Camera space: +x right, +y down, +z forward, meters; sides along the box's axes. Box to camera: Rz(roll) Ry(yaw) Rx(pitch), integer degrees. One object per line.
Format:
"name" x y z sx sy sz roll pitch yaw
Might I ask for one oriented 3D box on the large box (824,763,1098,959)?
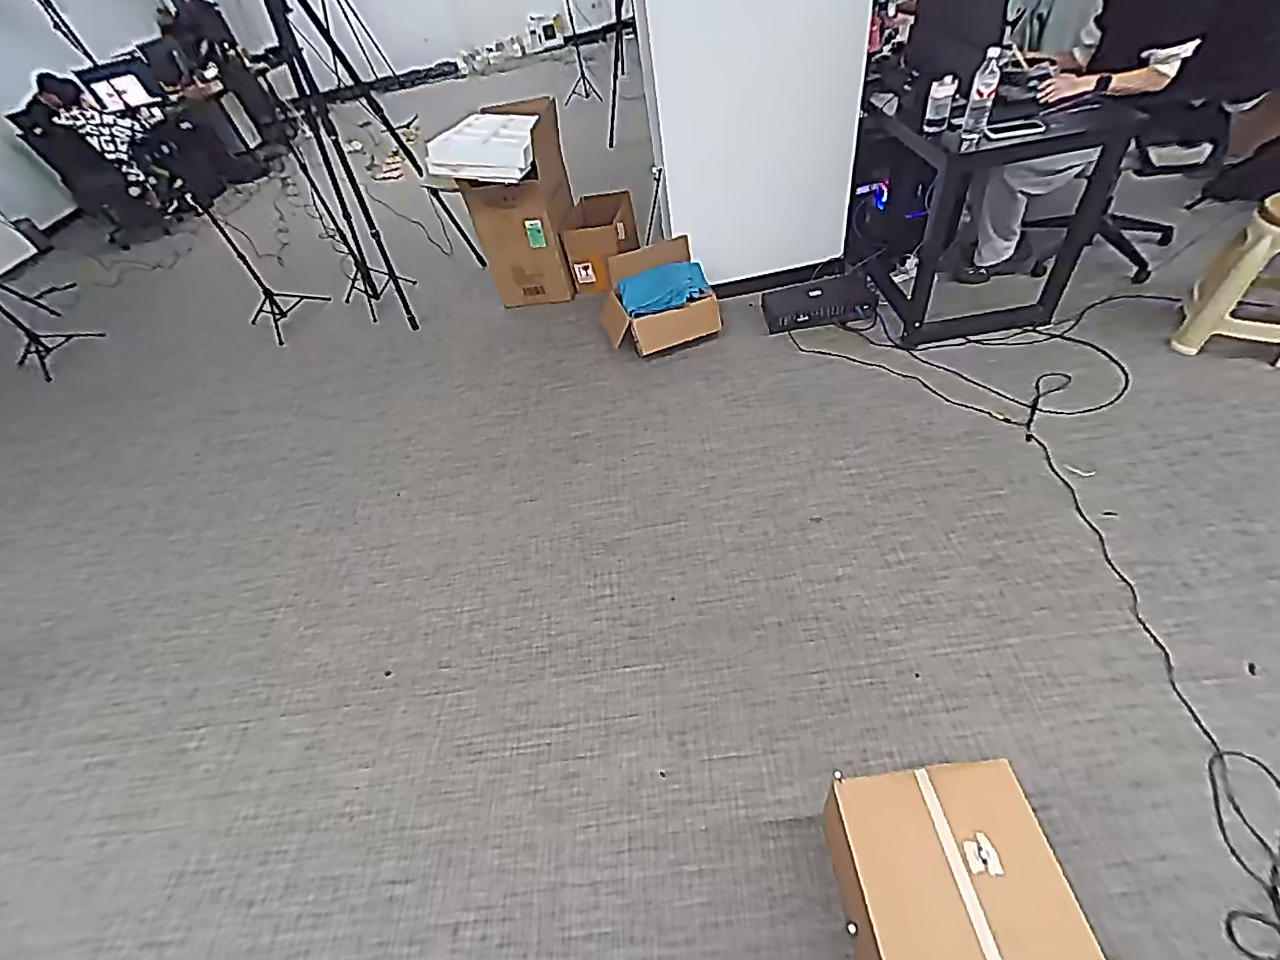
"large box" 0.548 0.785 0.966 0.320 0.320 0.408 -9 46 4
